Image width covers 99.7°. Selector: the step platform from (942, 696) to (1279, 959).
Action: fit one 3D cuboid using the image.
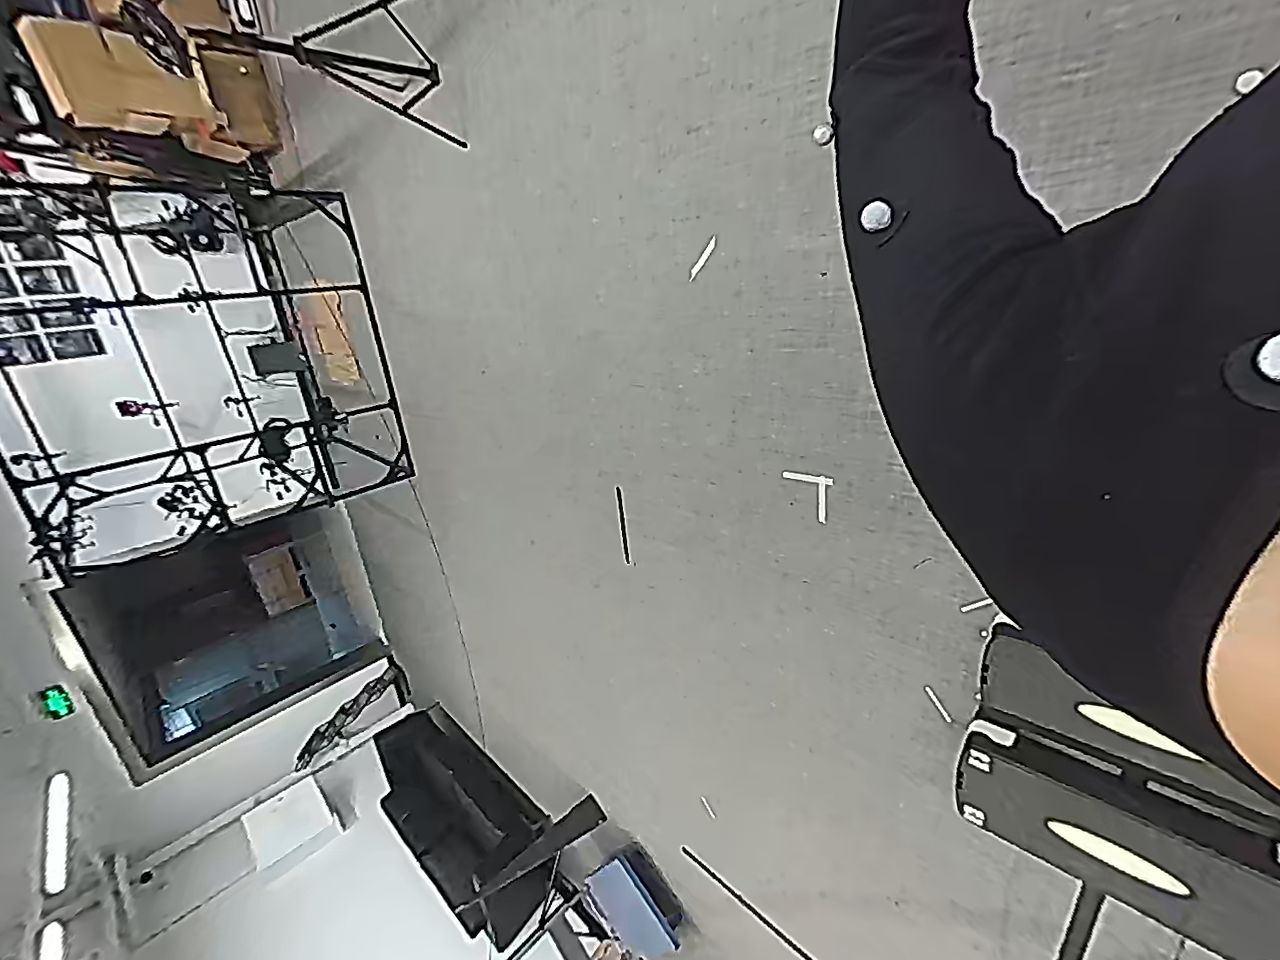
[{"bbox_3d":[1.137,0.829,1.336,0.684,0.204,0.286,14,118,45],"label":"step platform"}]
